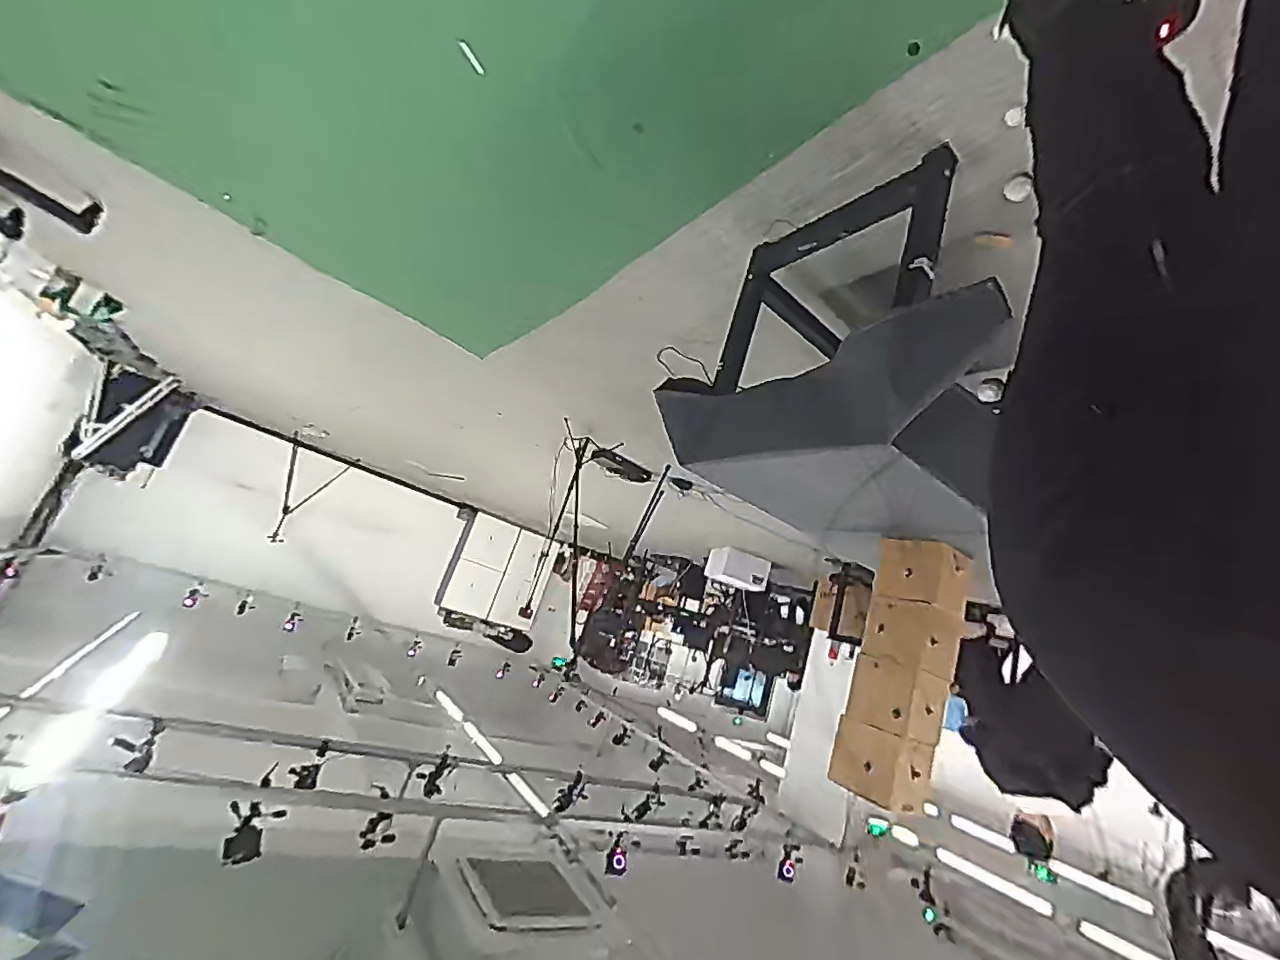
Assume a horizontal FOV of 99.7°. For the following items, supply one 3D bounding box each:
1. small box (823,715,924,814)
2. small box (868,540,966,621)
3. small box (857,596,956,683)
[{"bbox_3d":[0.602,0.720,1.381,0.168,0.176,0.179,27,163,-30],"label":"small box"},{"bbox_3d":[0.762,0.268,1.482,0.168,0.176,0.179,27,162,-31],"label":"small box"},{"bbox_3d":[0.714,0.419,1.445,0.179,0.176,0.168,27,164,-29],"label":"small box"}]
